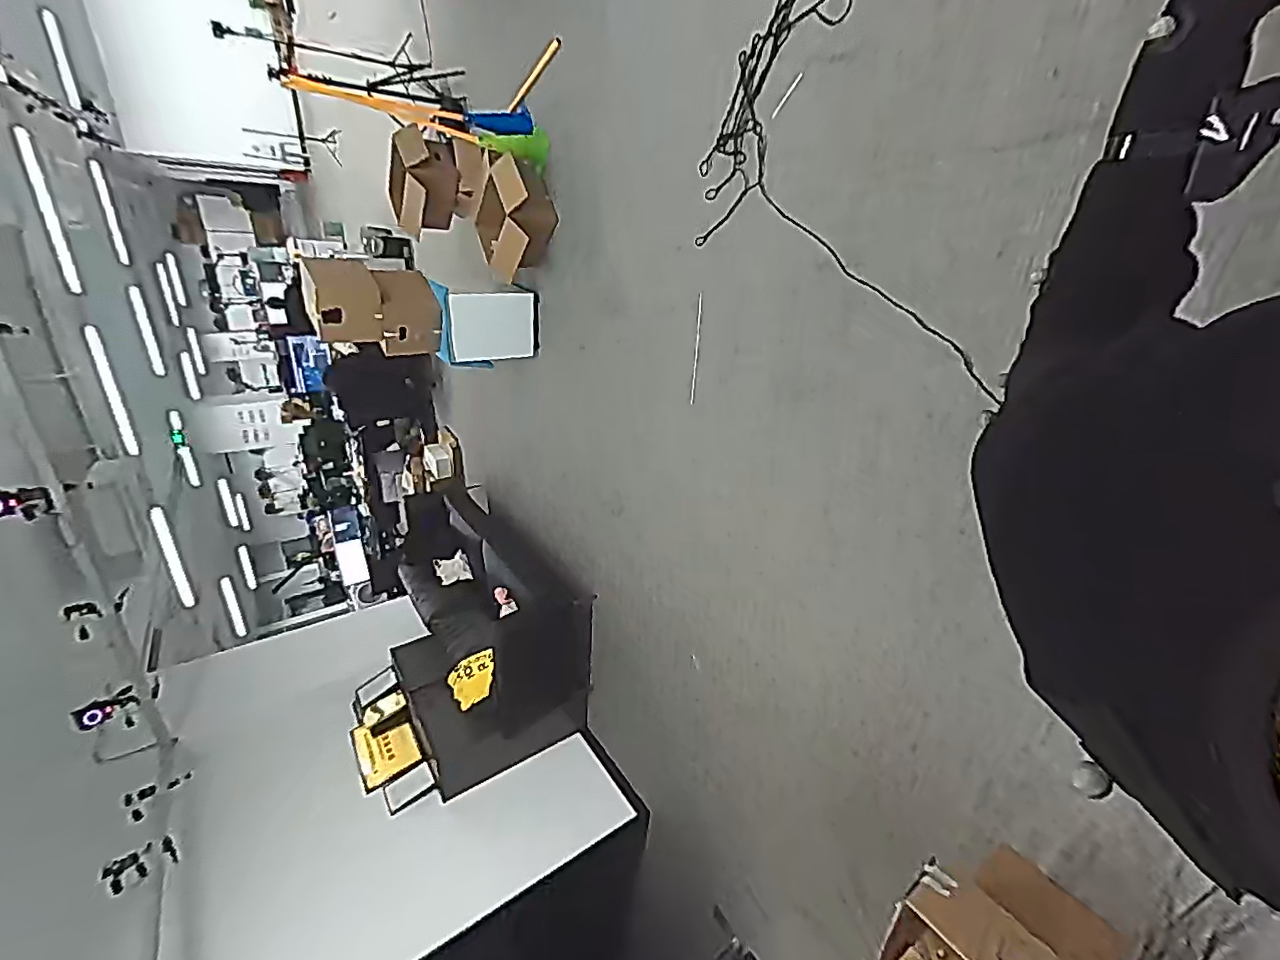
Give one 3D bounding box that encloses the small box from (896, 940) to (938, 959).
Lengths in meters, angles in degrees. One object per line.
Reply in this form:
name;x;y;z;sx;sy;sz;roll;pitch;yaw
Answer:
small box;0.618;1.175;1.181;0.168;0.176;0.179;29;125;48
